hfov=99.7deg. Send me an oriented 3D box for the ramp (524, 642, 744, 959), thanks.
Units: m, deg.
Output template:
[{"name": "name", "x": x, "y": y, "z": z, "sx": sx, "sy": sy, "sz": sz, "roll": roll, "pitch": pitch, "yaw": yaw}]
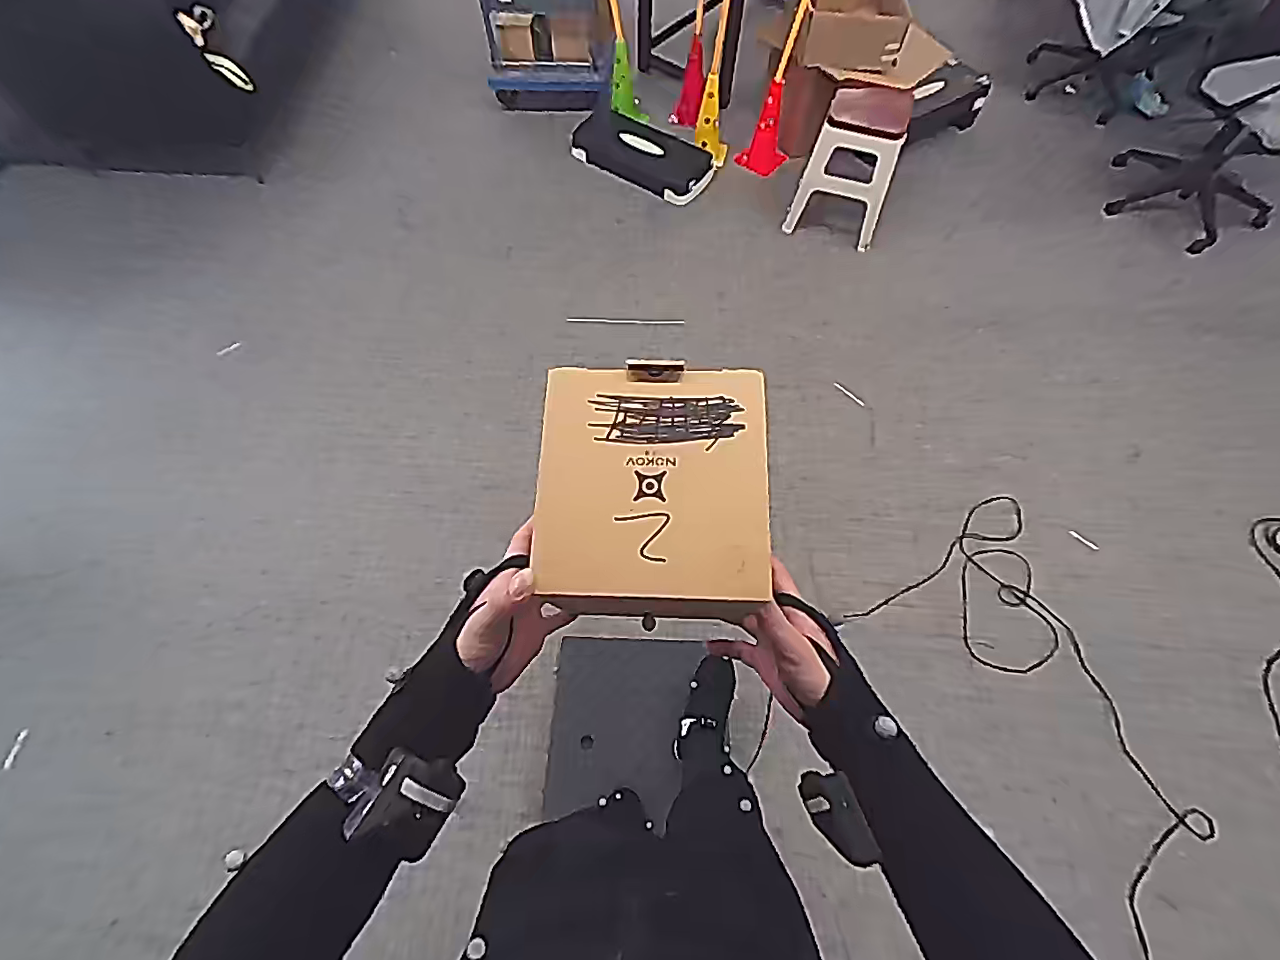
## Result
[{"name": "ramp", "x": -0.007, "y": 0.889, "z": 1.317, "sx": 0.509, "sy": 0.206, "sz": 0.991, "roll": 0, "pitch": 63, "yaw": 2}]
